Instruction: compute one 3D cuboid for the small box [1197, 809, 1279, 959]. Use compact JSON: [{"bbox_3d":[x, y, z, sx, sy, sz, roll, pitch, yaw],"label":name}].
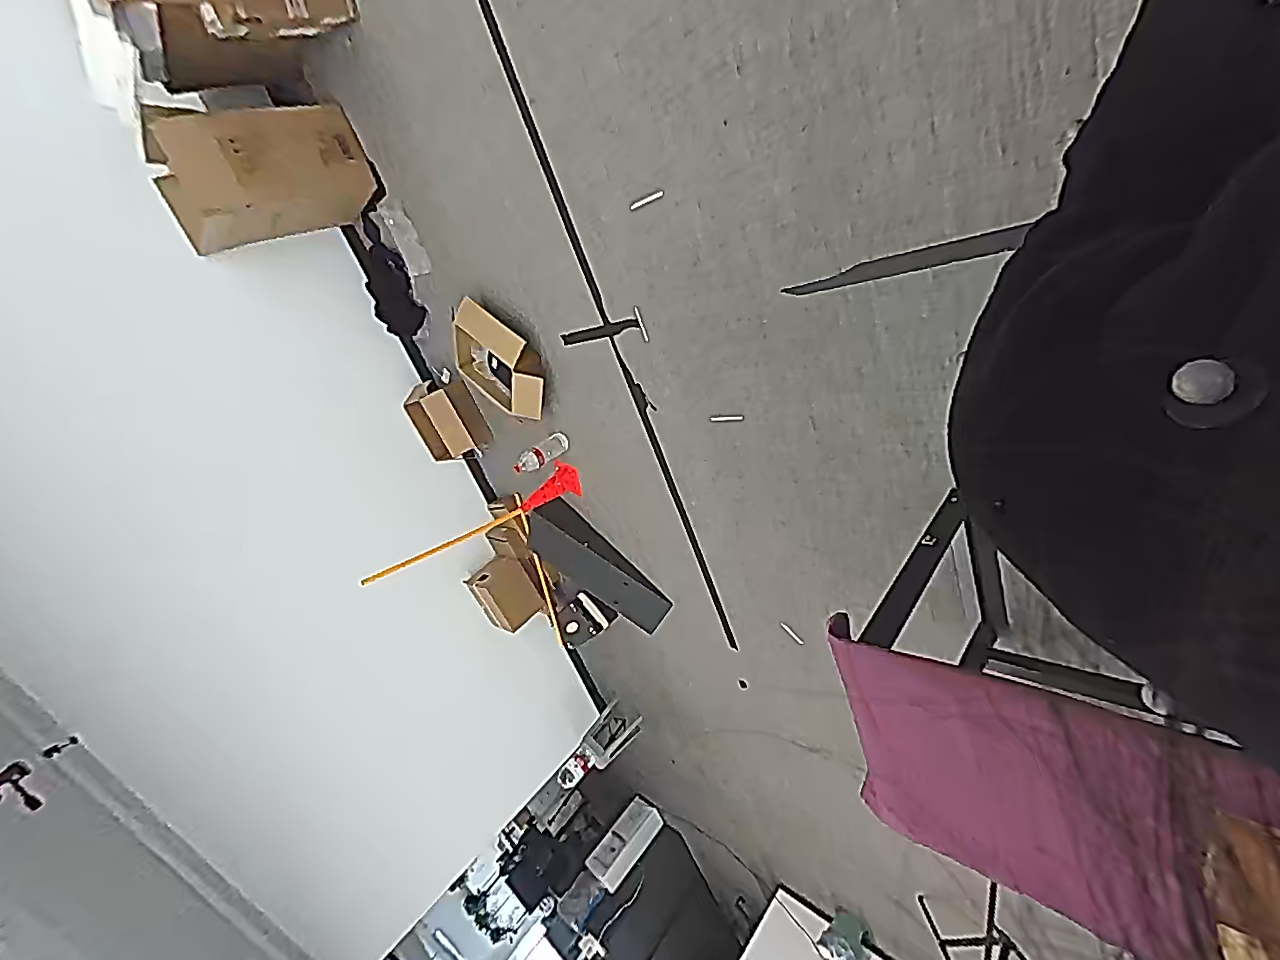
[{"bbox_3d":[0.869,0.592,0.716,0.168,0.176,0.179,6,126,46],"label":"small box"}]
